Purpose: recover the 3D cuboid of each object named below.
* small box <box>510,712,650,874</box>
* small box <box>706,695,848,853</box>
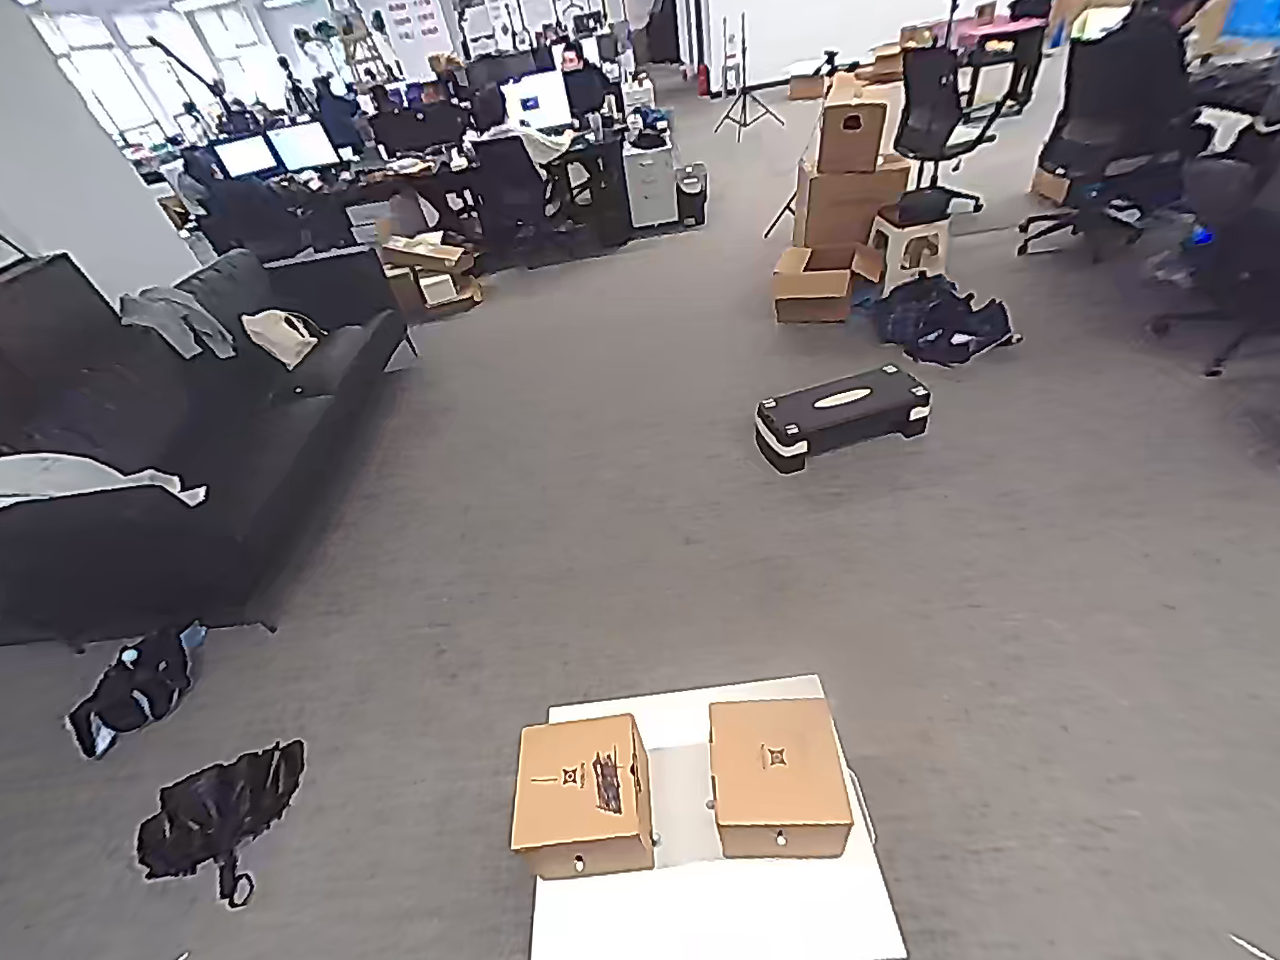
[{"bbox_3d":[-0.081,0.479,0.826,0.179,0.176,0.168,-9,41,4],"label":"small box"},{"bbox_3d":[0.197,0.441,0.807,0.179,0.176,0.168,-5,43,7],"label":"small box"}]
